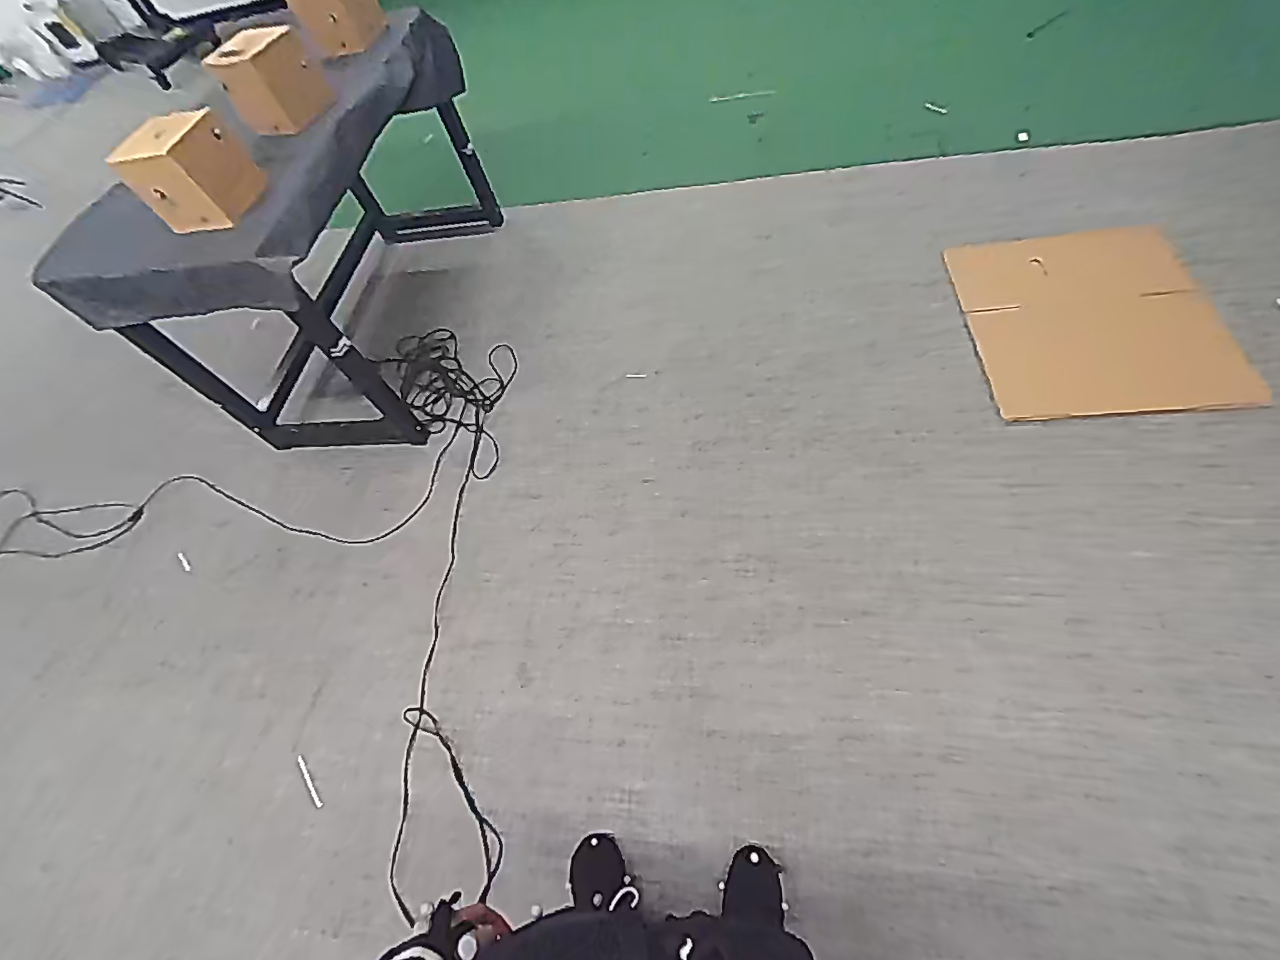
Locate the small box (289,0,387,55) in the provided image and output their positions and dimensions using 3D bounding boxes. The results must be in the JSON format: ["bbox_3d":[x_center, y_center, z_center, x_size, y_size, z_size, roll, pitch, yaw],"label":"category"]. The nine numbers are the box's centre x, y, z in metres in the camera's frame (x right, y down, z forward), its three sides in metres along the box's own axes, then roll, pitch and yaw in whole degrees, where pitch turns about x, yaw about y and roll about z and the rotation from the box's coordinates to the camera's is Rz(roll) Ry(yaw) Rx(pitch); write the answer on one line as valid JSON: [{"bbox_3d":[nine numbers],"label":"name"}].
[{"bbox_3d":[-0.884,-1.386,1.593,0.168,0.176,0.179,5,61,13],"label":"small box"}]

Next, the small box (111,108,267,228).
[{"bbox_3d":[-0.979,-0.678,1.195,0.168,0.176,0.179,1,59,13],"label":"small box"}]
